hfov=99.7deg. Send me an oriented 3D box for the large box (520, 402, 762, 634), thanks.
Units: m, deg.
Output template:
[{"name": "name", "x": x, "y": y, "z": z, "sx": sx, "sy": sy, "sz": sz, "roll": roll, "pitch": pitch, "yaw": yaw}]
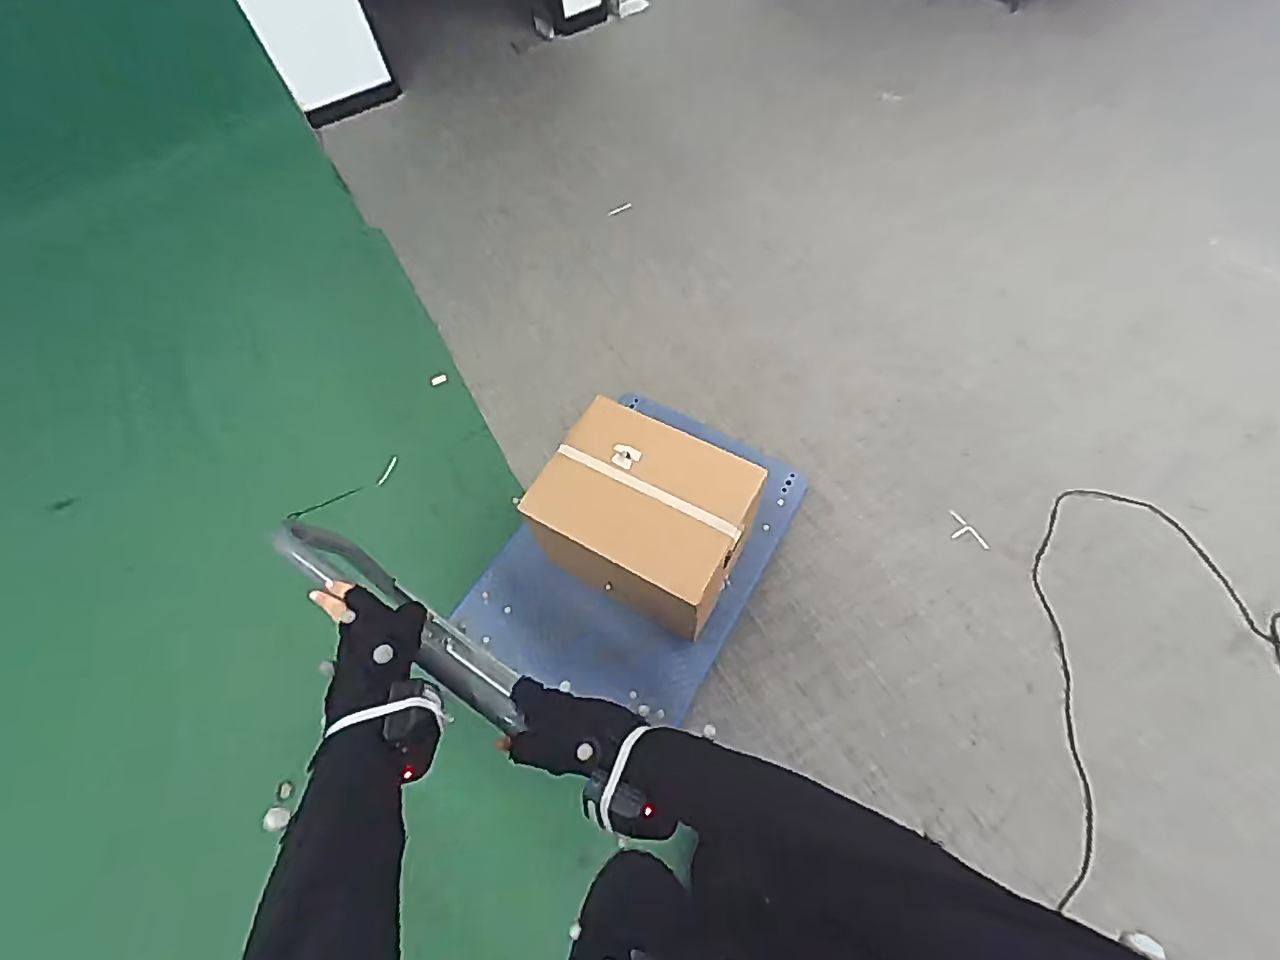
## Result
[{"name": "large box", "x": 0.017, "y": 0.091, "z": 1.209, "sx": 0.408, "sy": 0.320, "sz": 0.320, "roll": 25, "pitch": 66, "yaw": 17}]
